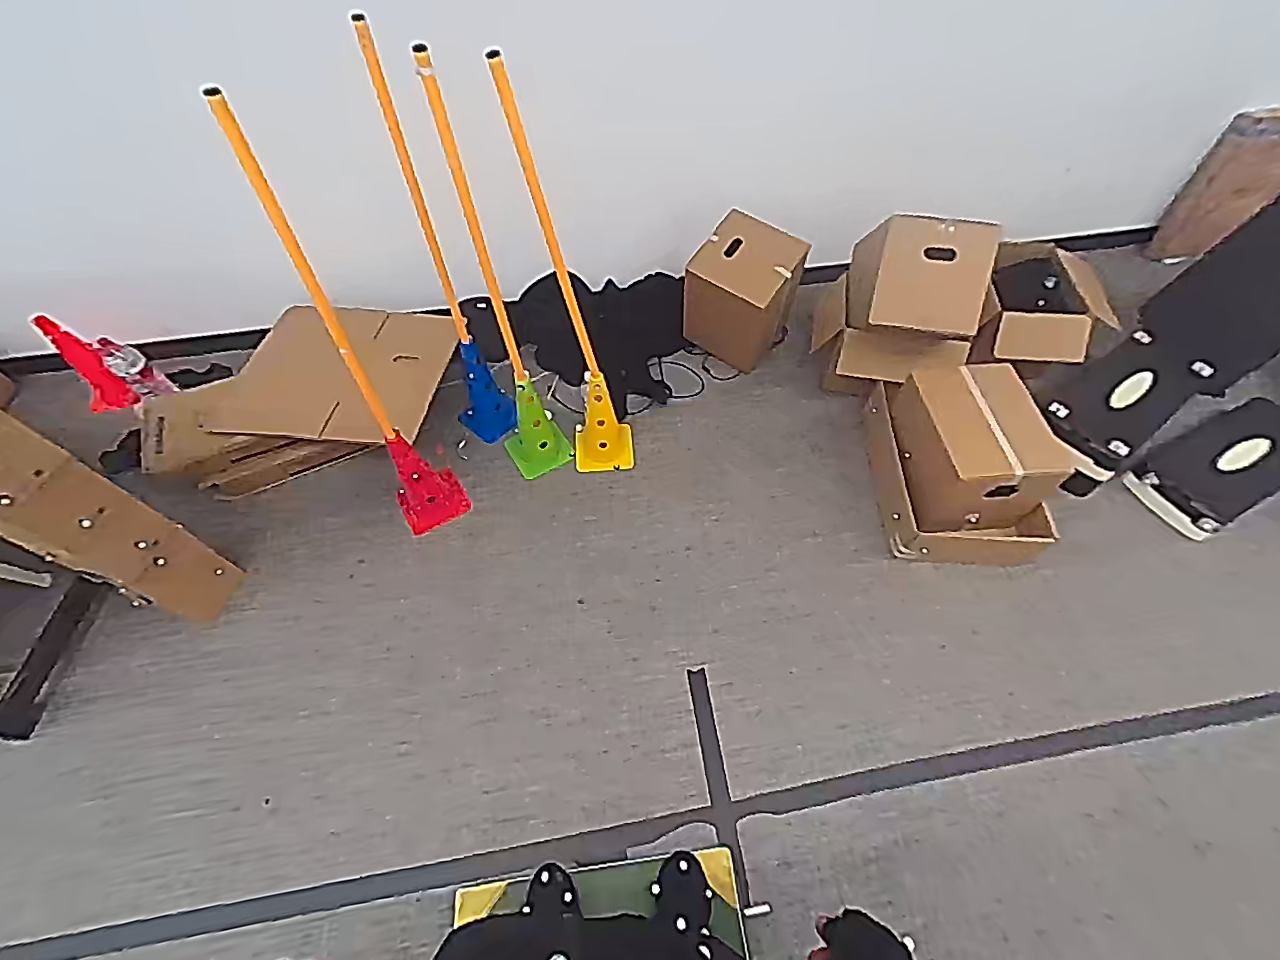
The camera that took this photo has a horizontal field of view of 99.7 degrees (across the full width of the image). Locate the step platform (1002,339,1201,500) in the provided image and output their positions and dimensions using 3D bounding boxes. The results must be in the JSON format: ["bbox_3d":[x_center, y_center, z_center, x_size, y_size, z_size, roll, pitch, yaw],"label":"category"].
[{"bbox_3d":[1.605,-0.224,1.878,0.684,0.204,0.286,-33,62,-19],"label":"step platform"}]
